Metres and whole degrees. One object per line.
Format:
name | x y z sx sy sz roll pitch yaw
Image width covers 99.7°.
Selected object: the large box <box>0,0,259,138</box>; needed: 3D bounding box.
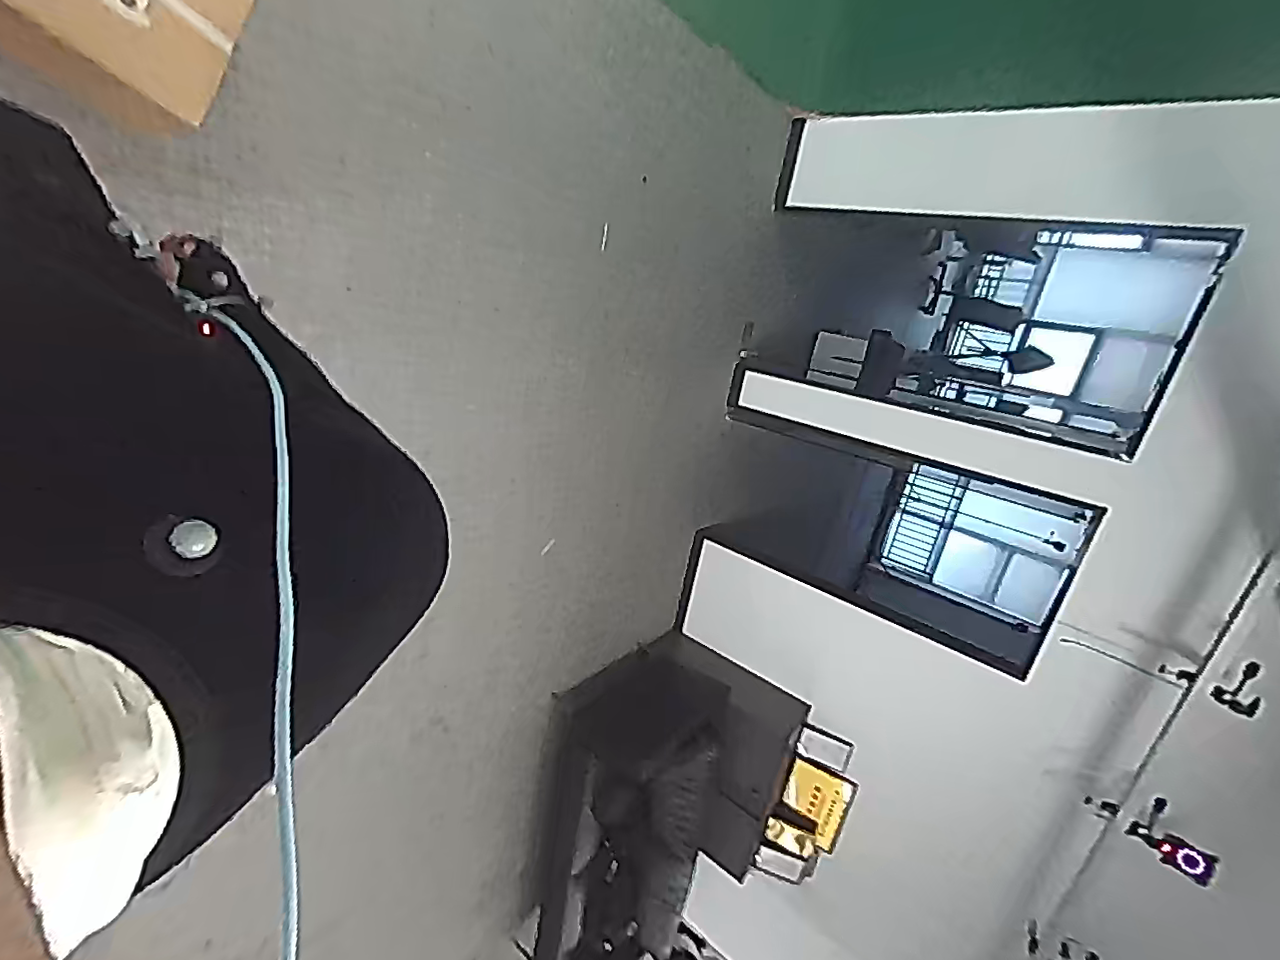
large box | -0.952 -0.858 0.889 0.408 0.320 0.320 28 82 -57
